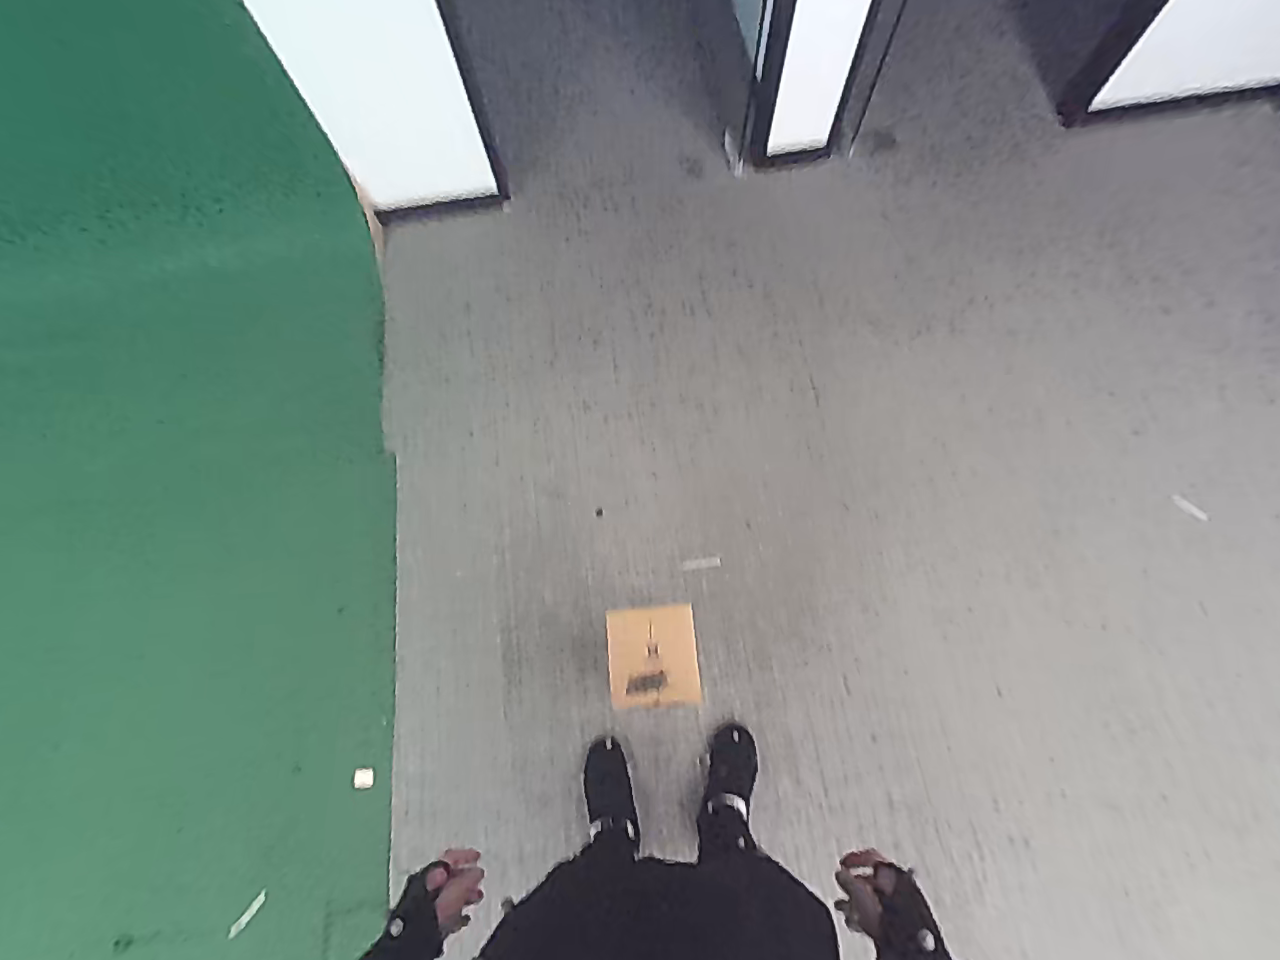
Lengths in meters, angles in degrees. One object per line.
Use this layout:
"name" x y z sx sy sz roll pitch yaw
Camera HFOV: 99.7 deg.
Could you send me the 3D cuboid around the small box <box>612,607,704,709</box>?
"small box" 0.036 0.357 1.094 0.168 0.176 0.179 -5 71 0
